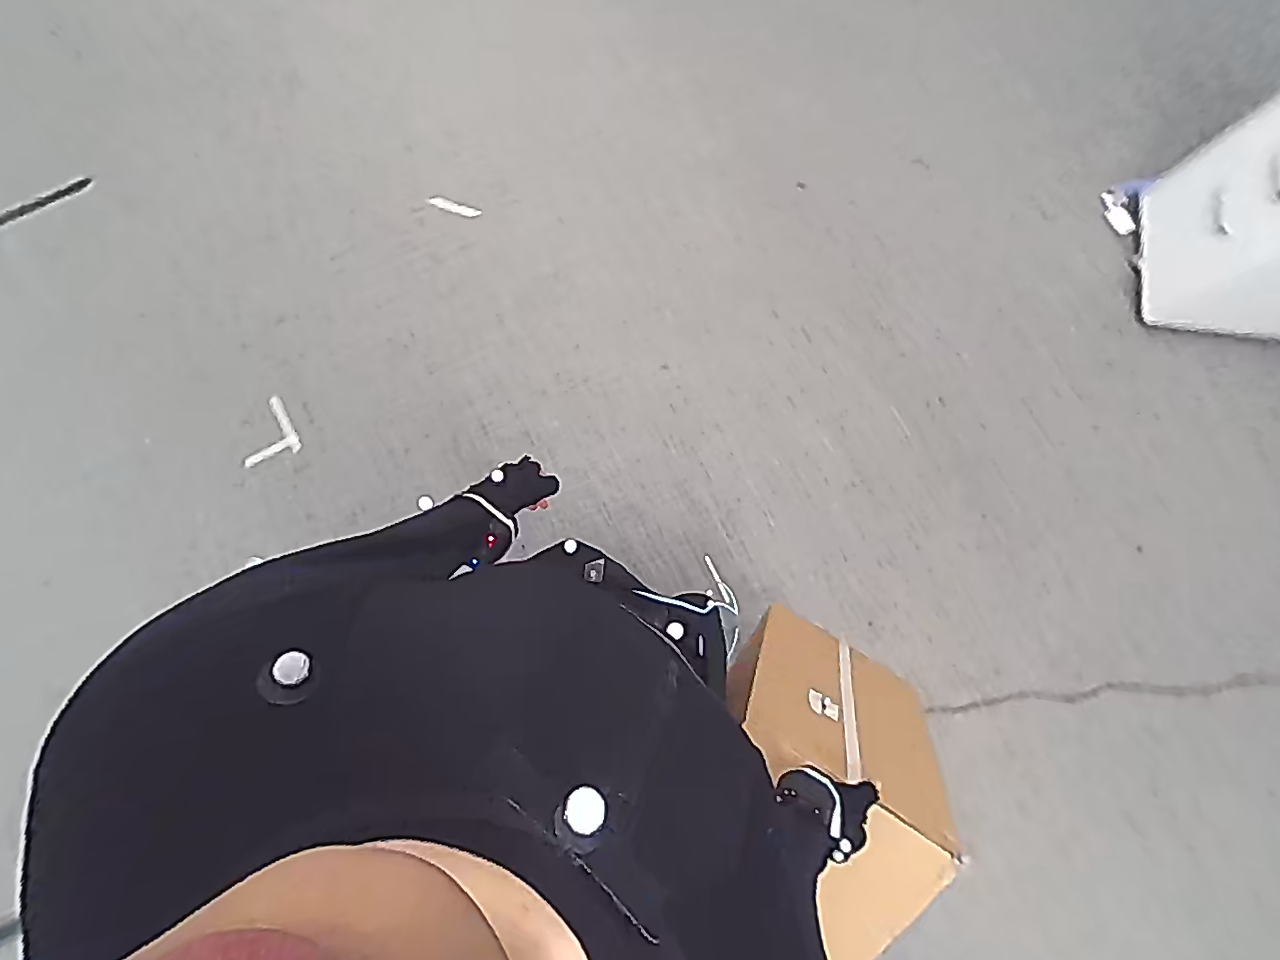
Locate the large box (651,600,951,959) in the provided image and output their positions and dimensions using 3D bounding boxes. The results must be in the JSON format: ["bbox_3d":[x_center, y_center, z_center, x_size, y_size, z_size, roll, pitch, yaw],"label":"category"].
[{"bbox_3d":[0.265,0.485,0.943,0.320,0.408,0.320,30,110,11],"label":"large box"}]
